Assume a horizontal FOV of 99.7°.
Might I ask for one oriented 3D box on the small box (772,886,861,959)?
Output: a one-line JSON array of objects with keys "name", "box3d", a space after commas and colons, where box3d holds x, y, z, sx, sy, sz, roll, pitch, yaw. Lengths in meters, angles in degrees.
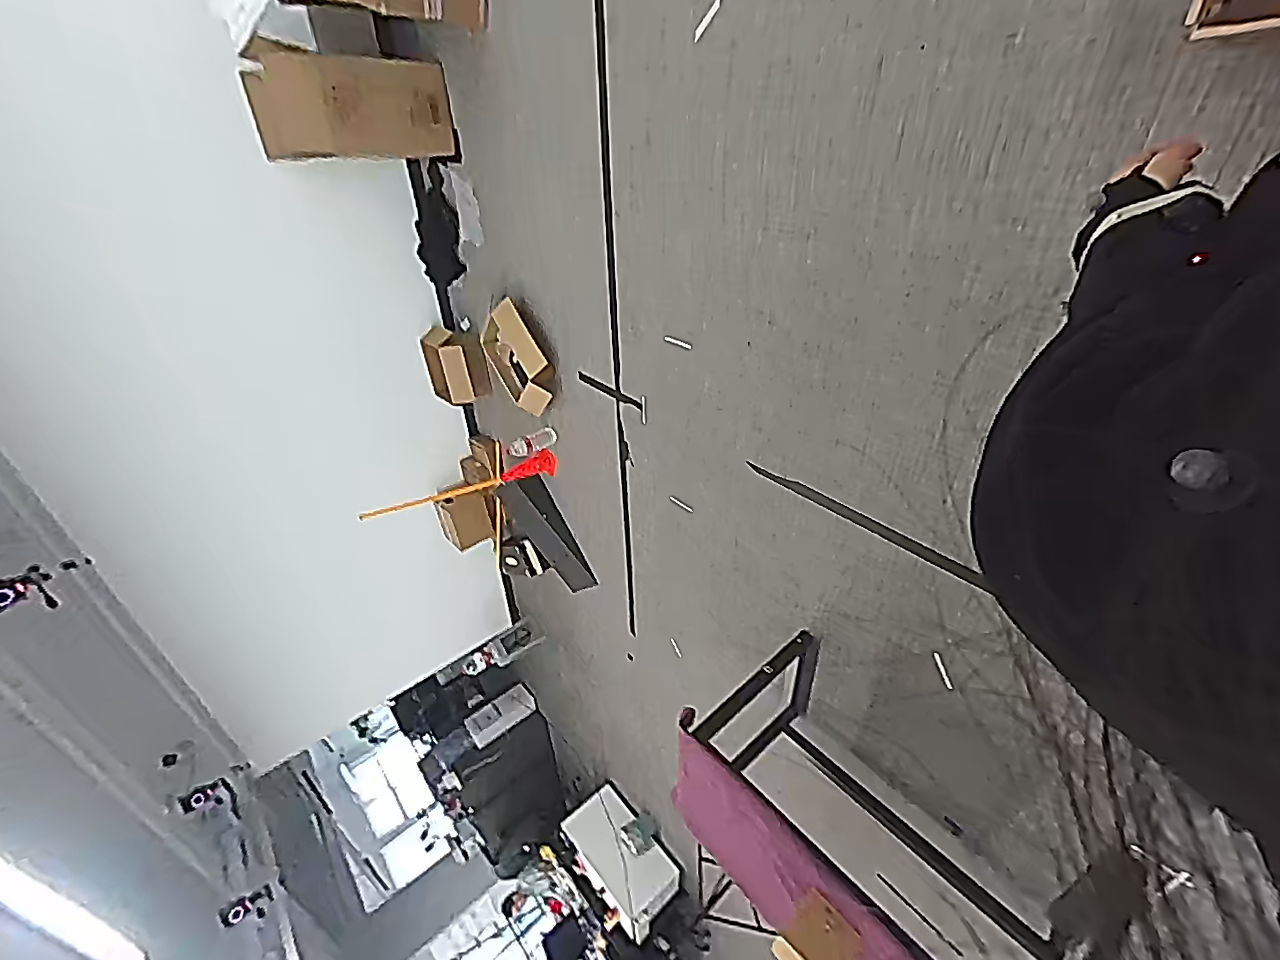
[{"name": "small box", "box3d": [0.506, 1.327, 1.553, 0.168, 0.176, 0.179, 34, 138, 37]}]
